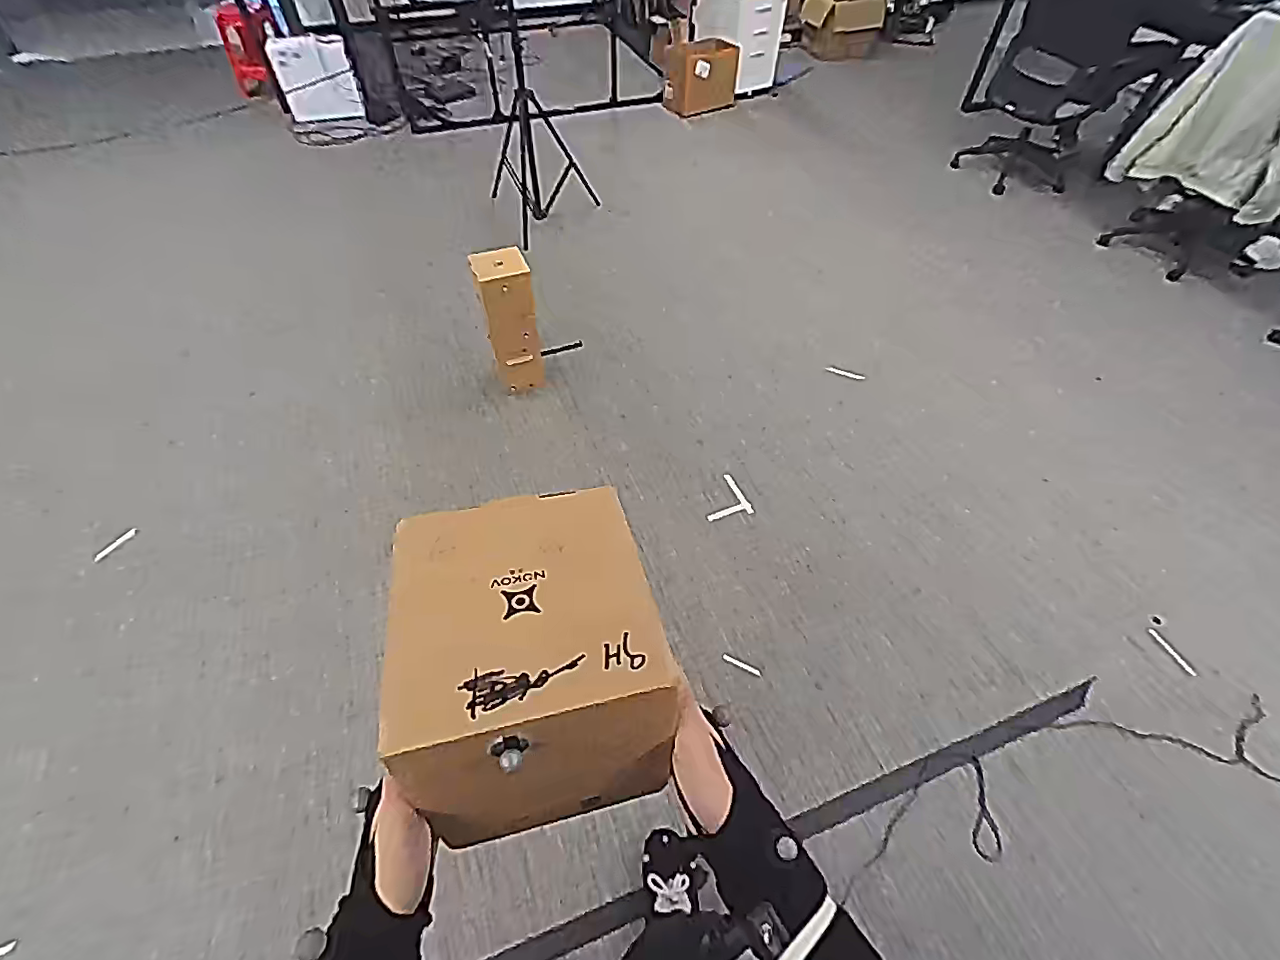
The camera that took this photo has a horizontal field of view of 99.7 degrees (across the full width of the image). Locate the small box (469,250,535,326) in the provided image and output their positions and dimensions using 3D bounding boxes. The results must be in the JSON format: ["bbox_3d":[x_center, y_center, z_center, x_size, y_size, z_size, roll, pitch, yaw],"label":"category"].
[{"bbox_3d":[-0.469,-0.658,1.857,0.179,0.176,0.168,-19,56,-15],"label":"small box"}]

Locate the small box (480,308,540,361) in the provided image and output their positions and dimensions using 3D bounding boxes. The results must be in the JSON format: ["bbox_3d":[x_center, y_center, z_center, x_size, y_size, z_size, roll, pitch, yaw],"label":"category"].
[{"bbox_3d":[-0.474,-0.557,1.985,0.168,0.176,0.179,-19,54,-15],"label":"small box"}]

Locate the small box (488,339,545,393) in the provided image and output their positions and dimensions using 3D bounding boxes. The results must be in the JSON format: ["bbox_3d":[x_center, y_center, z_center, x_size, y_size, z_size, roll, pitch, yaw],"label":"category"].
[{"bbox_3d":[-0.478,-0.459,2.113,0.168,0.176,0.179,-19,55,-14],"label":"small box"}]

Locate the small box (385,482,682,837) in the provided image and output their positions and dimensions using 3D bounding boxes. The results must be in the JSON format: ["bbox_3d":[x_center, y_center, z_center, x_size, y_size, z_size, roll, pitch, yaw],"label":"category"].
[{"bbox_3d":[-0.076,0.129,0.409,0.168,0.176,0.179,-10,43,-11],"label":"small box"}]
